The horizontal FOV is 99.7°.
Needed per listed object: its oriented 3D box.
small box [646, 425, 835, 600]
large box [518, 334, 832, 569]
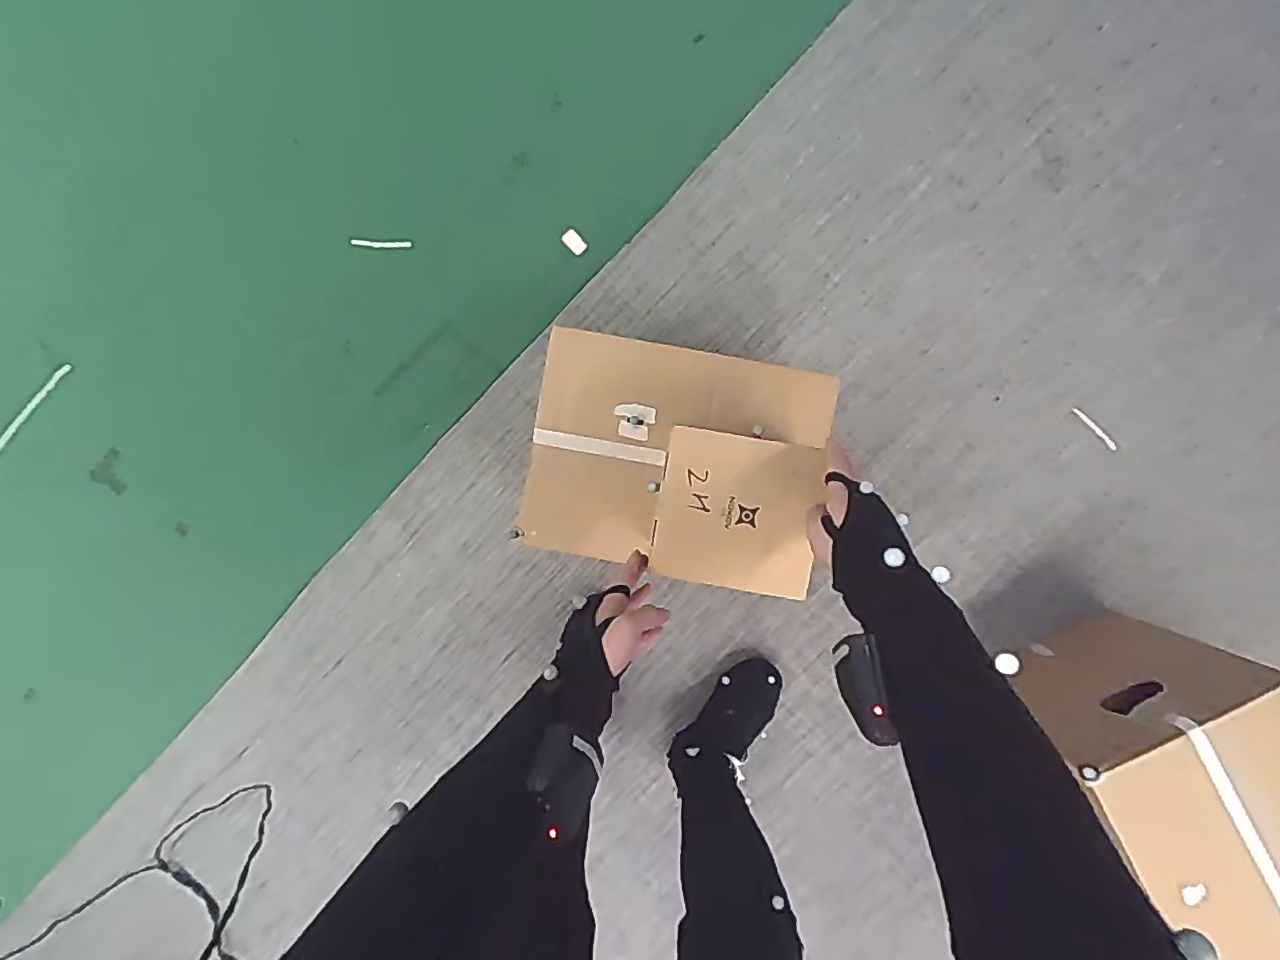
[{"bbox_3d":[0.109,0.029,0.655,0.179,0.176,0.168,10,95,2],"label":"small box"},{"bbox_3d":[0.055,-0.030,0.902,0.408,0.320,0.320,10,93,3],"label":"large box"}]
